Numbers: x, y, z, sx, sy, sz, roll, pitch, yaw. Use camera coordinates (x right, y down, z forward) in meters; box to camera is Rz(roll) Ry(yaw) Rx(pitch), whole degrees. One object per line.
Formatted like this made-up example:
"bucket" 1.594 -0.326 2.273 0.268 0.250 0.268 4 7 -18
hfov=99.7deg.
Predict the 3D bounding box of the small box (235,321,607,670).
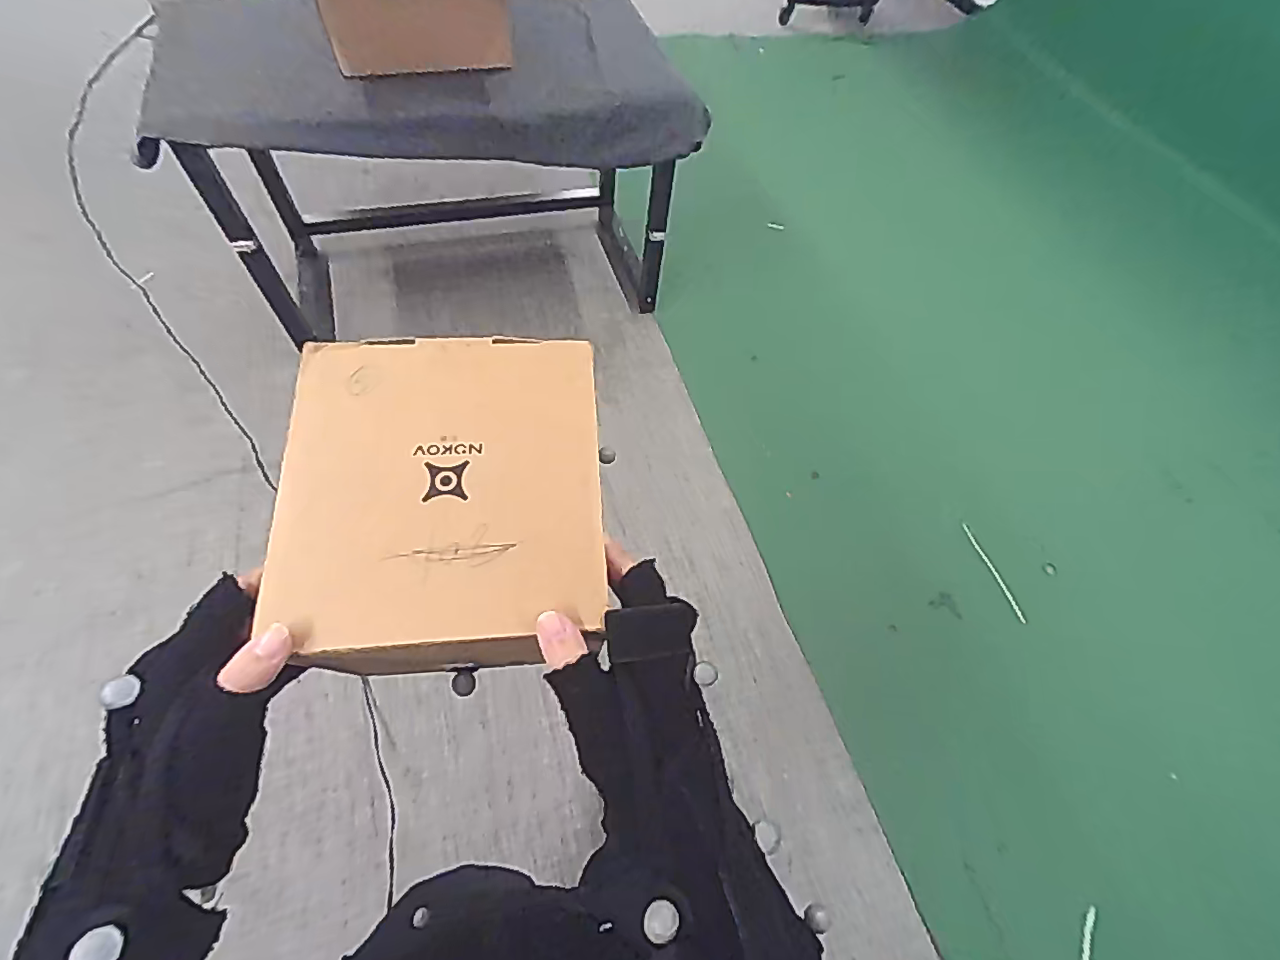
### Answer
"small box" -0.113 0.020 0.351 0.168 0.176 0.179 -3 68 -8
